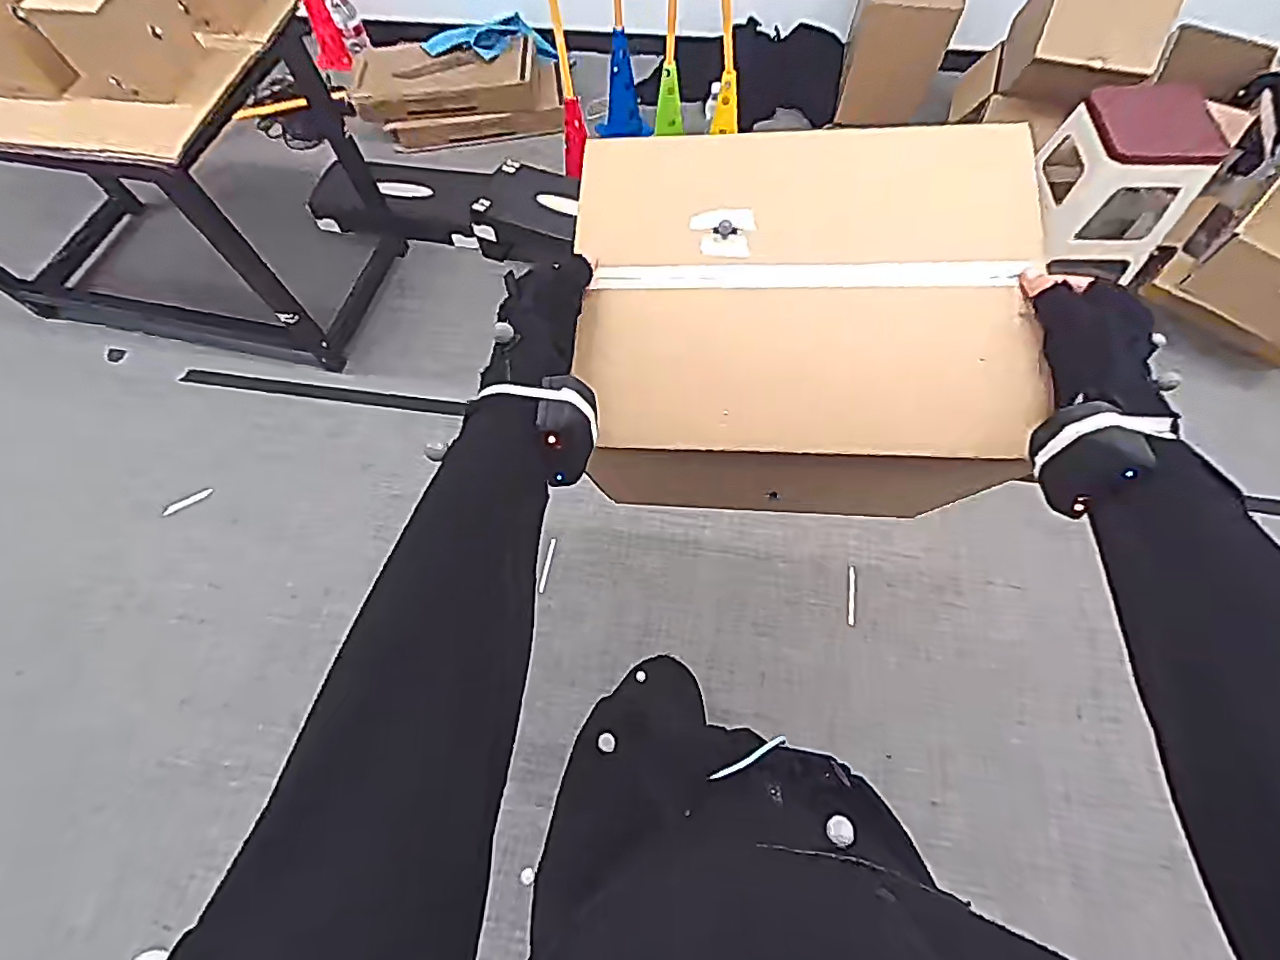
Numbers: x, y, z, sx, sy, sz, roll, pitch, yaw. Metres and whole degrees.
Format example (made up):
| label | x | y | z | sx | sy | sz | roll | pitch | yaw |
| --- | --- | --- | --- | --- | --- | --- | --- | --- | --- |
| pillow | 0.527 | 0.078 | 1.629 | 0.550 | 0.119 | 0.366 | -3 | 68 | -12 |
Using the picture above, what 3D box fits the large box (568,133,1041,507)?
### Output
| label | x | y | z | sx | sy | sz | roll | pitch | yaw |
| --- | --- | --- | --- | --- | --- | --- | --- | --- | --- |
| large box | 0.159 | -0.145 | 0.639 | 0.408 | 0.320 | 0.320 | 2 | 77 | 8 |
